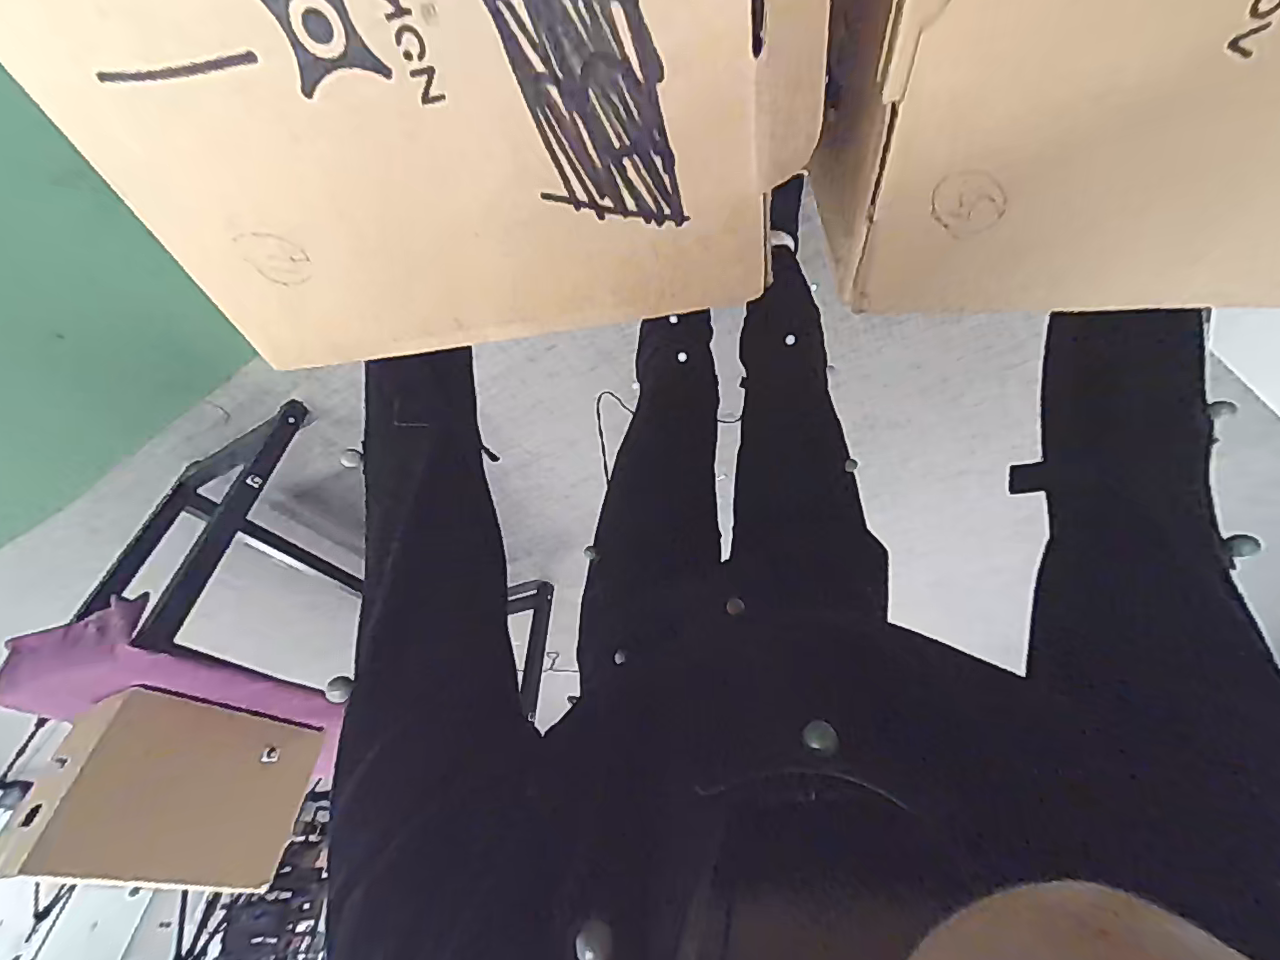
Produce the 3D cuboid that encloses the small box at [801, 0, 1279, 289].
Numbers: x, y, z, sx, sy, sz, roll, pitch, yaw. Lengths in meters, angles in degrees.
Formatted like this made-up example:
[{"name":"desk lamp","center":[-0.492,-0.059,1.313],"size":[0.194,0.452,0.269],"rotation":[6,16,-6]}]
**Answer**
[{"name":"small box","center":[0.150,-0.174,0.156],"size":[0.179,0.176,0.168],"rotation":[1,141,7]}]
